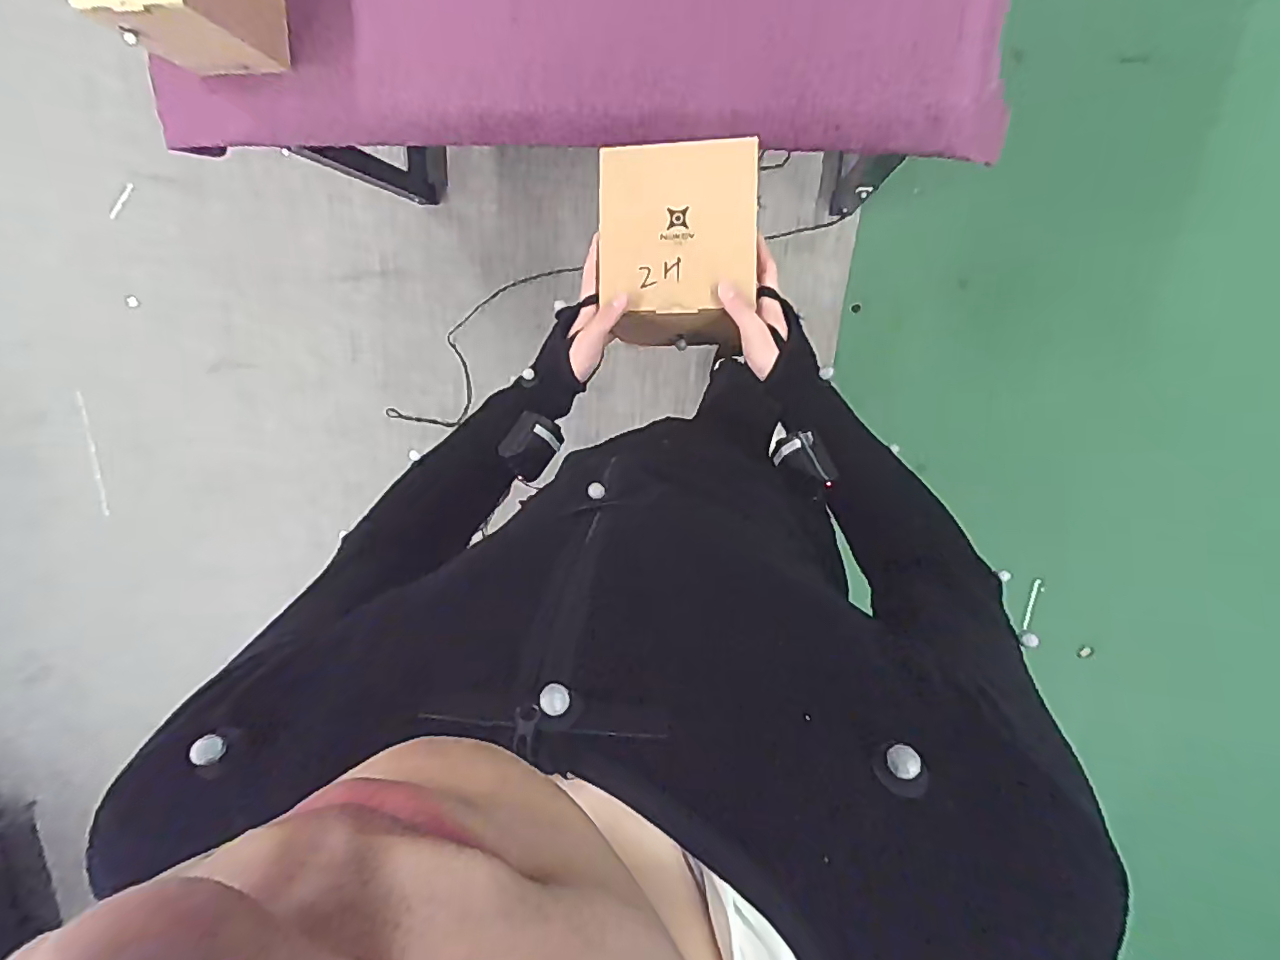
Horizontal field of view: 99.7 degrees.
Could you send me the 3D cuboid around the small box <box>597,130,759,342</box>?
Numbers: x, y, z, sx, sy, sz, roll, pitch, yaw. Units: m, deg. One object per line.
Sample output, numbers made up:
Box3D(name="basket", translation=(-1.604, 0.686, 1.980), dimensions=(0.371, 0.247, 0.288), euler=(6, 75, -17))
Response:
Box3D(name="small box", translation=(0.048, -0.269, 0.635), dimensions=(0.168, 0.176, 0.179), euler=(1, 91, 9))
